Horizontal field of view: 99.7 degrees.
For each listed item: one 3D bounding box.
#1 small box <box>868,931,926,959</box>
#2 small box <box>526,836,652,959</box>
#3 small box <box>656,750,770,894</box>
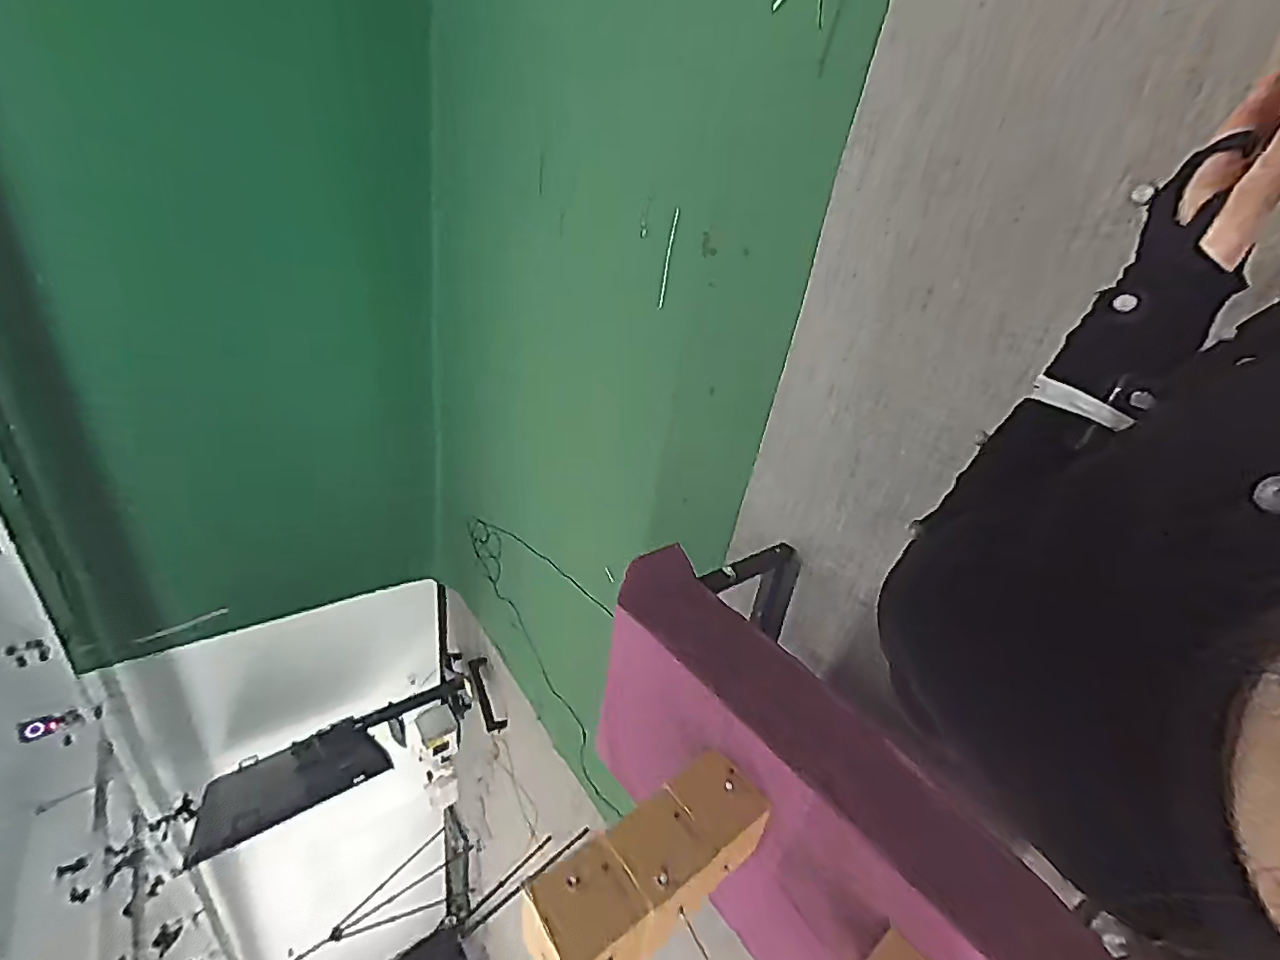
[{"bbox_3d":[0.428,0.909,0.890,0.168,0.176,0.179,33,127,43],"label":"small box"},{"bbox_3d":[-0.095,0.813,0.997,0.168,0.176,0.179,34,127,43],"label":"small box"},{"bbox_3d":[0.161,0.743,1.189,0.168,0.176,0.179,36,128,41],"label":"small box"}]
